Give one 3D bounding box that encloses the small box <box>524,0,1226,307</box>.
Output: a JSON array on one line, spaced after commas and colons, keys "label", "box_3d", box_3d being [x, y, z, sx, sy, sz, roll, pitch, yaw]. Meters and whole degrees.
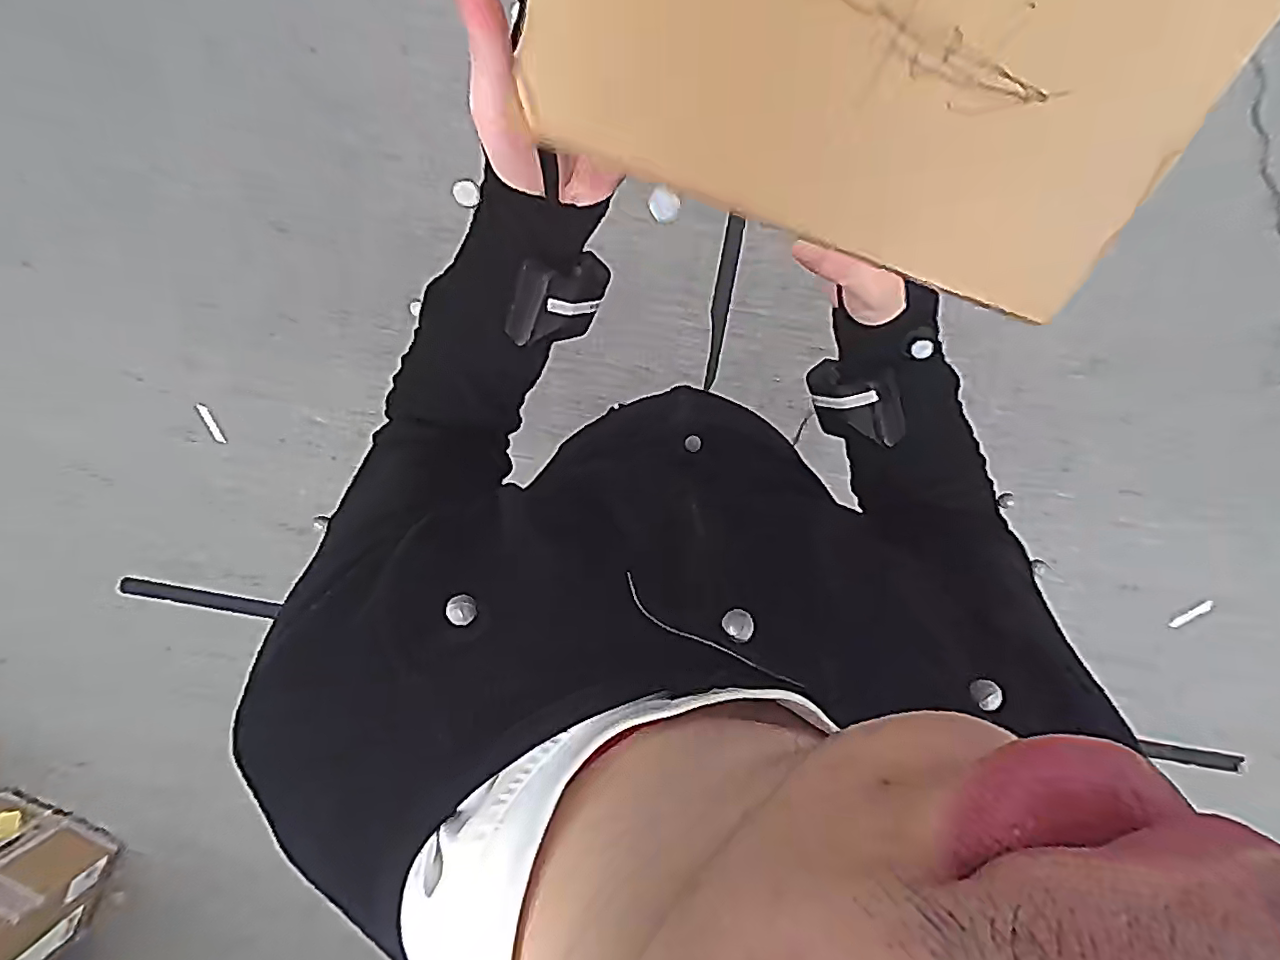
[{"label": "small box", "box_3d": [0.058, -0.183, 0.176, 0.168, 0.176, 0.179, 9, 122, -16]}]
